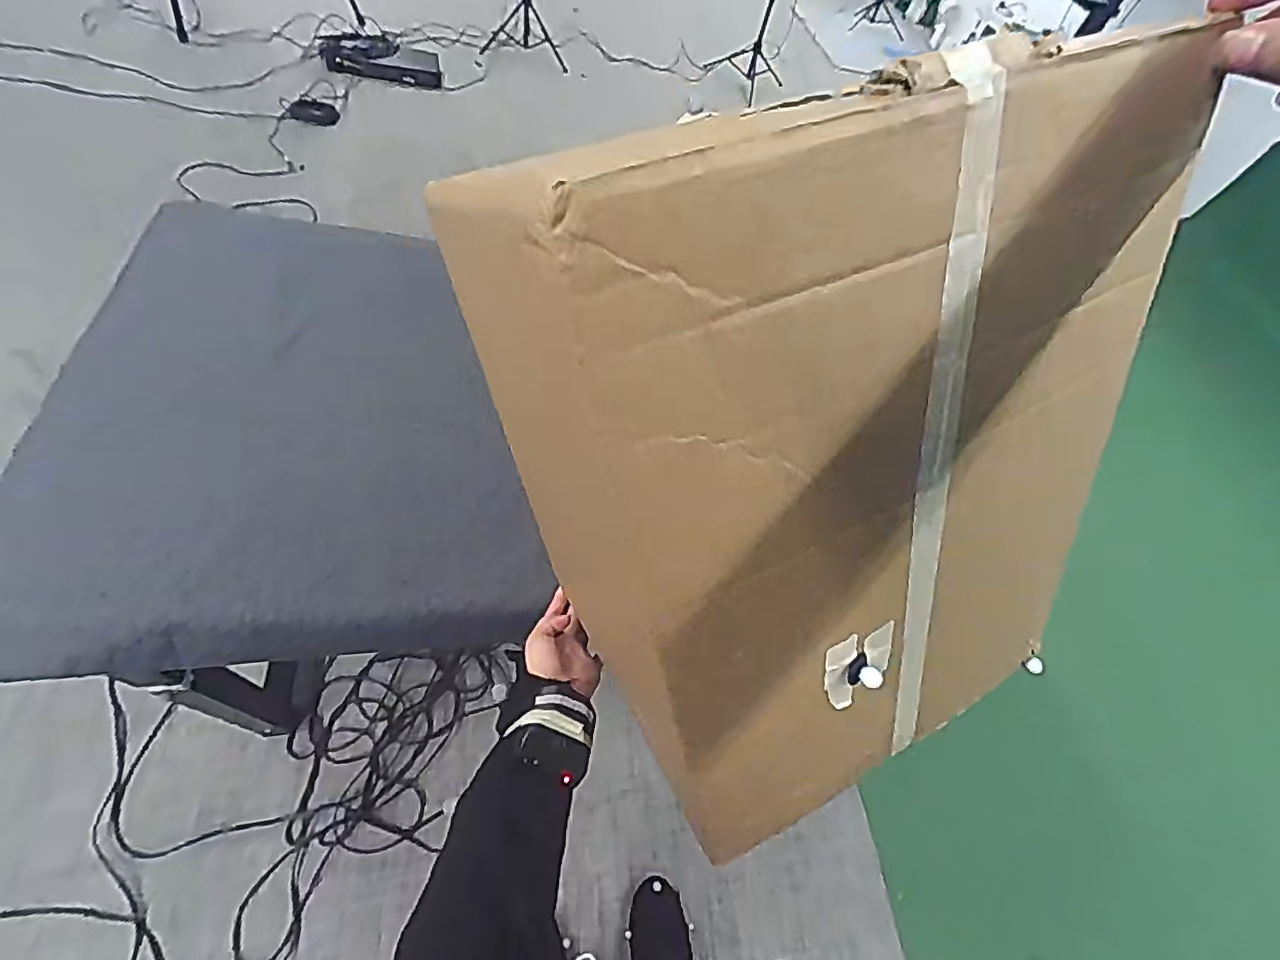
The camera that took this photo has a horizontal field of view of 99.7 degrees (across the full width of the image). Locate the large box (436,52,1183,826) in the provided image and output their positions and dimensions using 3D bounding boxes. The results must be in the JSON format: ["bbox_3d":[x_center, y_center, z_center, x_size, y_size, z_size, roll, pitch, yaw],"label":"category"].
[{"bbox_3d":[0.085,-0.040,0.427,0.320,0.408,0.320,-24,35,-16],"label":"large box"}]
